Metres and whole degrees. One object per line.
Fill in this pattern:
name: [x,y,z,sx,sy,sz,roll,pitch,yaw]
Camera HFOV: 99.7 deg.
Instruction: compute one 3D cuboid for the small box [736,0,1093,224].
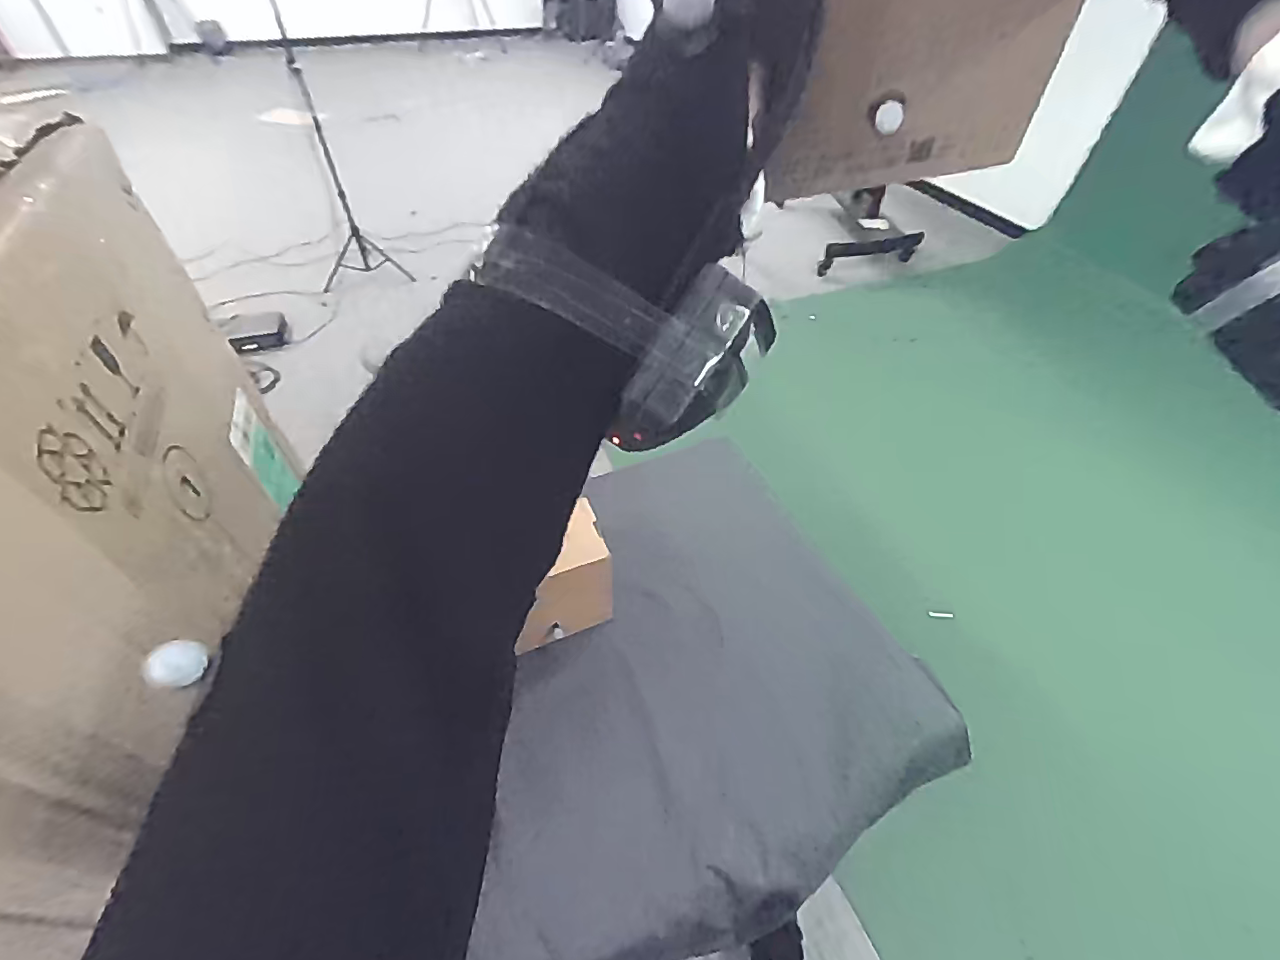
small box: [0.149,-0.296,0.341,0.168,0.176,0.179,-5,62,8]
